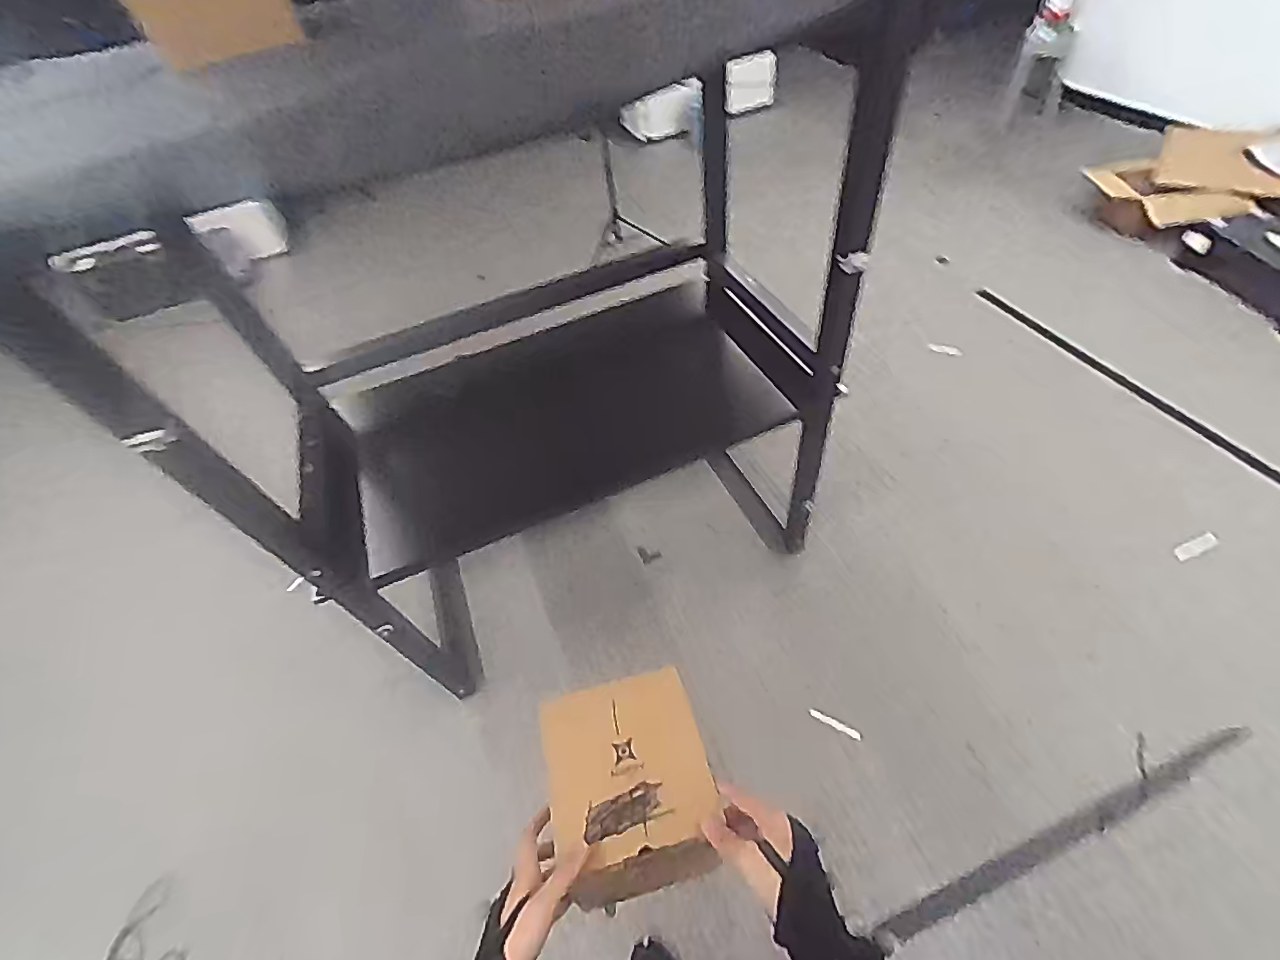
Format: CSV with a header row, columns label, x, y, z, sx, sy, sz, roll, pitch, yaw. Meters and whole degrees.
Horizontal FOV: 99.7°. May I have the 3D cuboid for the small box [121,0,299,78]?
label,x,y,z,sx,sy,sz,roll,pitch,yaw
small box,-0.572,-0.658,0.702,0.179,0.176,0.168,-24,53,-11

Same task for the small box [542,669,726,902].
label,x,y,z,sx,sy,sz,roll,pitch,yaw
small box,-0.008,0.353,0.620,0.168,0.176,0.179,-12,44,-8
